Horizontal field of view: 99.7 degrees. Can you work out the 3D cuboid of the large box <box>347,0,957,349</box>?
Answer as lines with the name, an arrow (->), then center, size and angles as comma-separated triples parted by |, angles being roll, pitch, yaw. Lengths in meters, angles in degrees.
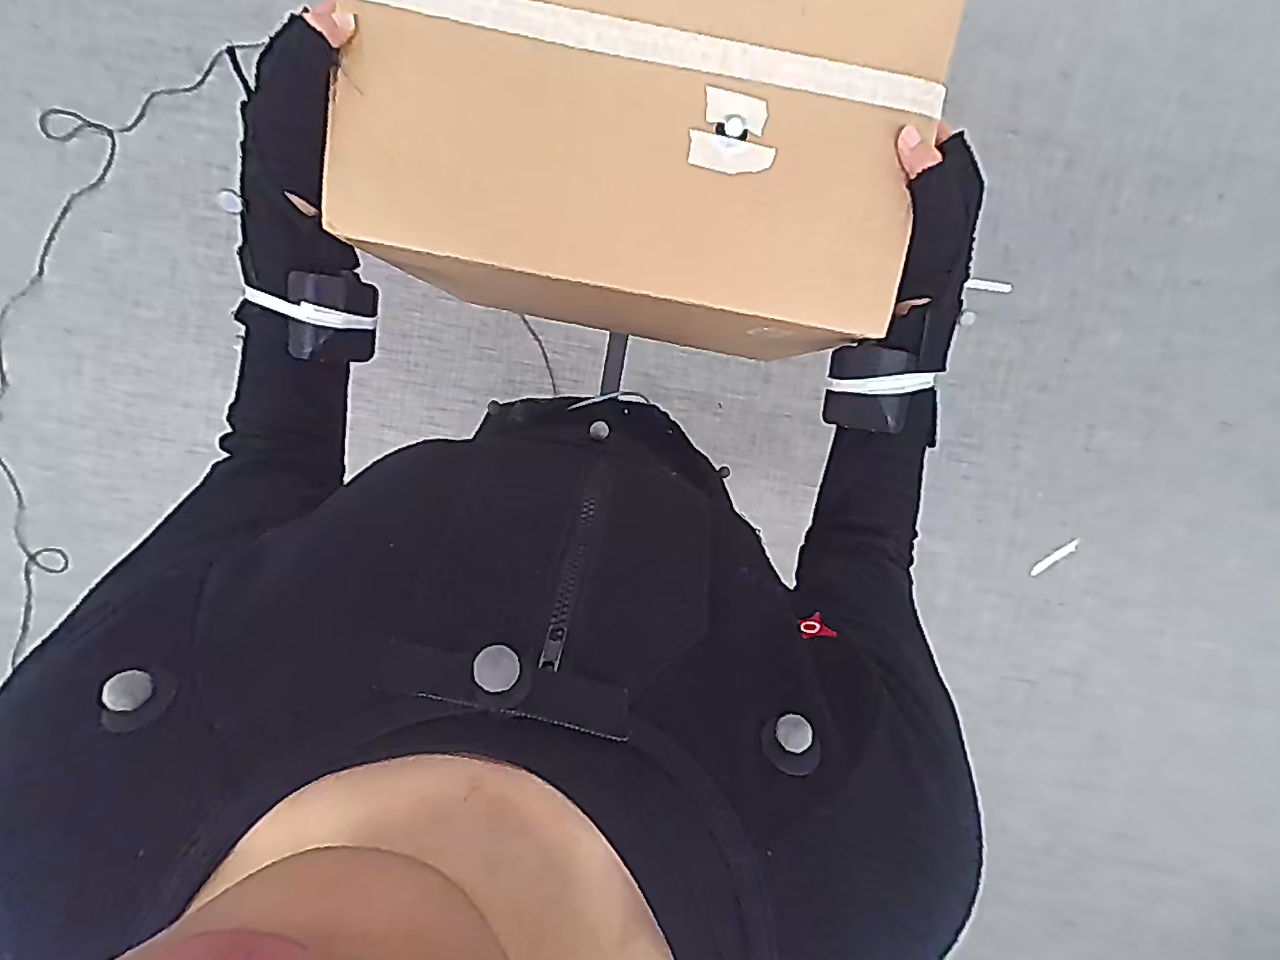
large box -> 0.004, -0.321, 0.516 | 0.408, 0.320, 0.320 | 10, 100, -3
